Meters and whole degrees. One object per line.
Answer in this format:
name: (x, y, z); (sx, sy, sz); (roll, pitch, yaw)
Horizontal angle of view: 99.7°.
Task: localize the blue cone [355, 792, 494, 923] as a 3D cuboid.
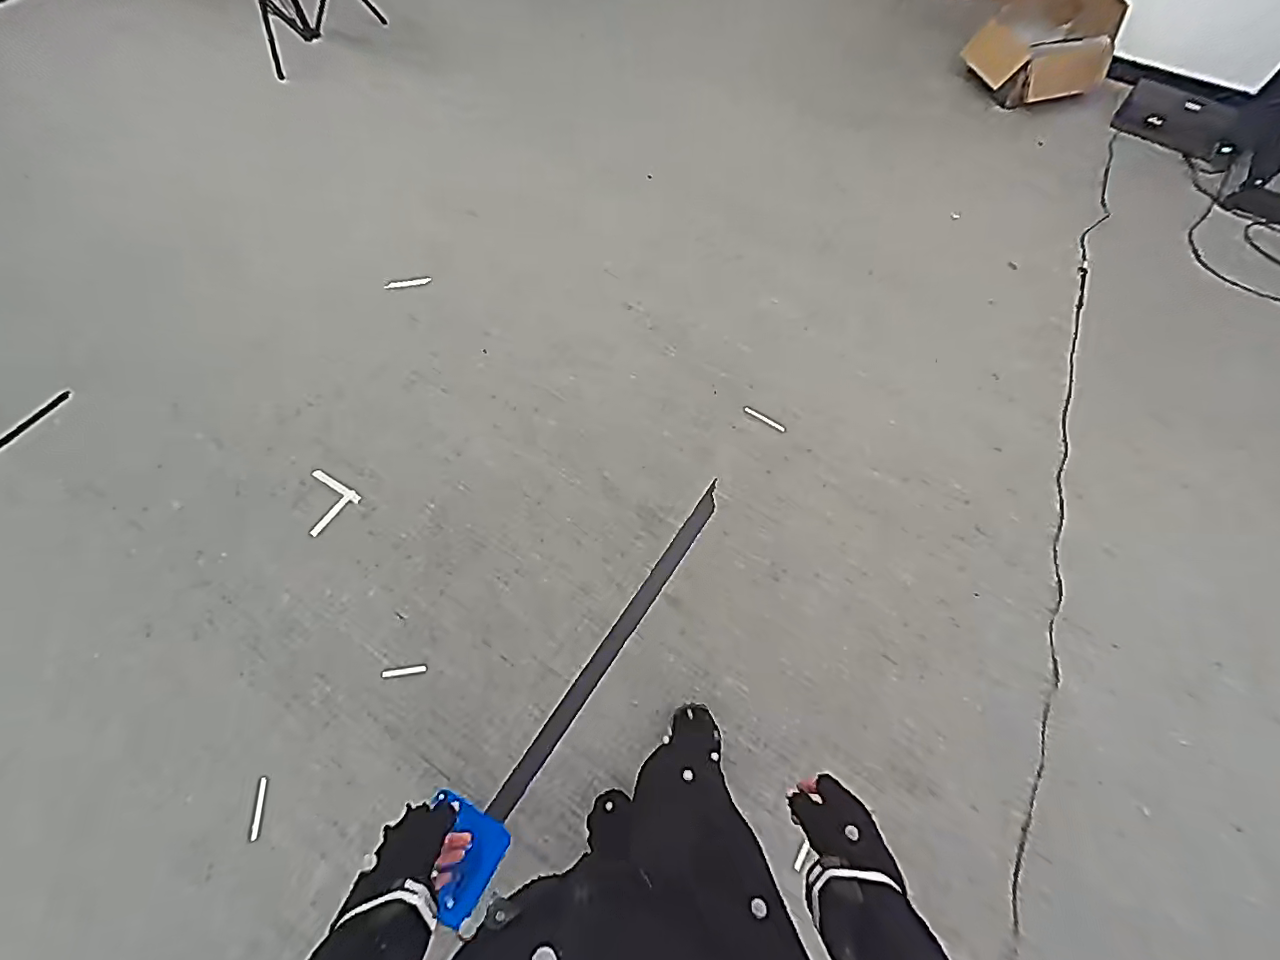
blue cone: (-0.428, 0.735, 1.021); (0.192, 0.380, 0.193); (28, 66, 13)
